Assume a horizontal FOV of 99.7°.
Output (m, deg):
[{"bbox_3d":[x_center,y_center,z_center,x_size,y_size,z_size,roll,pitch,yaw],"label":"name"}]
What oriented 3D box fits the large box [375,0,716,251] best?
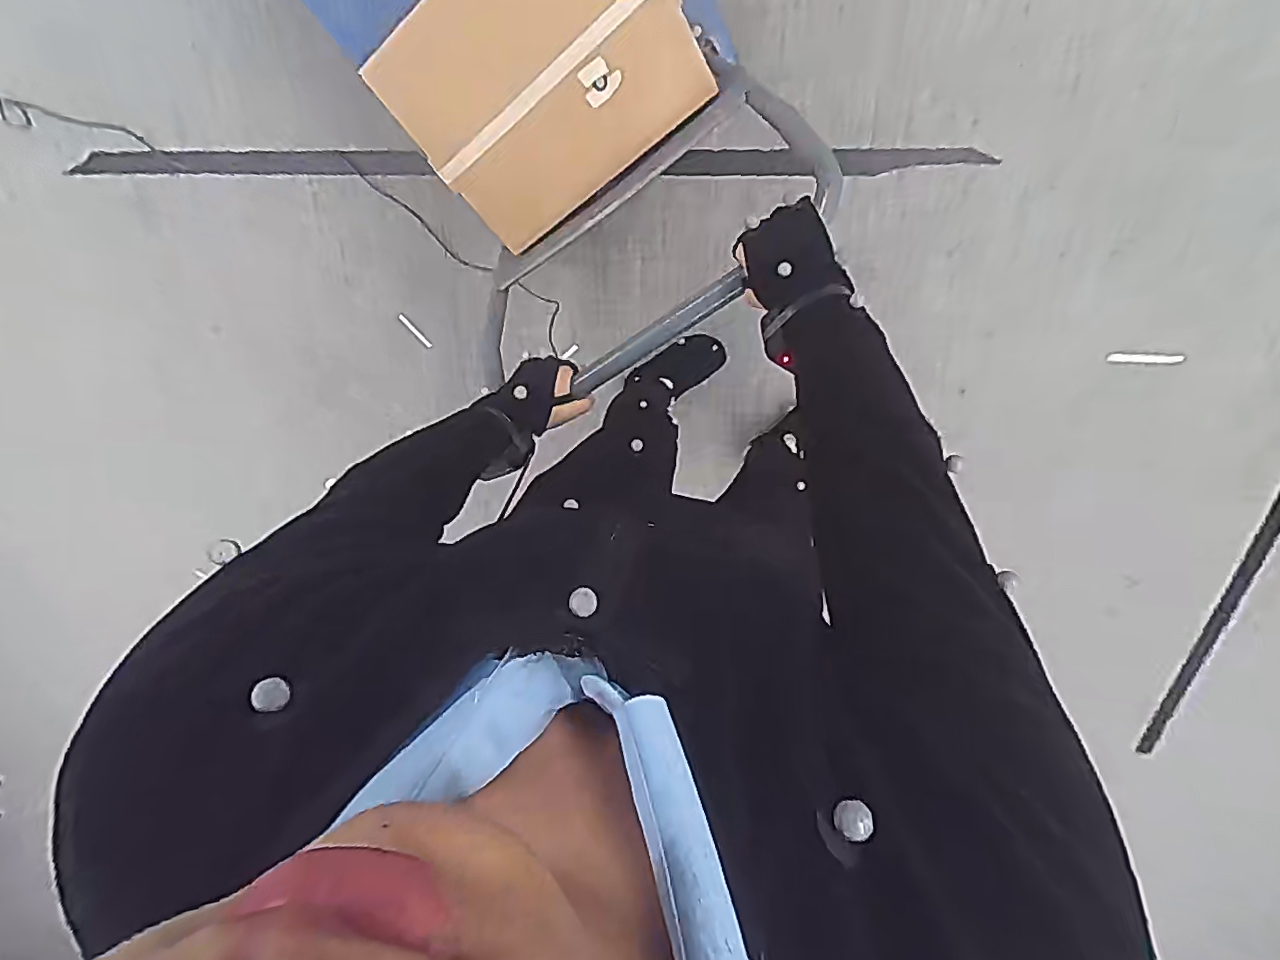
[{"bbox_3d":[-0.143,-0.671,0.891,0.408,0.320,0.320,-31,128,20],"label":"large box"}]
